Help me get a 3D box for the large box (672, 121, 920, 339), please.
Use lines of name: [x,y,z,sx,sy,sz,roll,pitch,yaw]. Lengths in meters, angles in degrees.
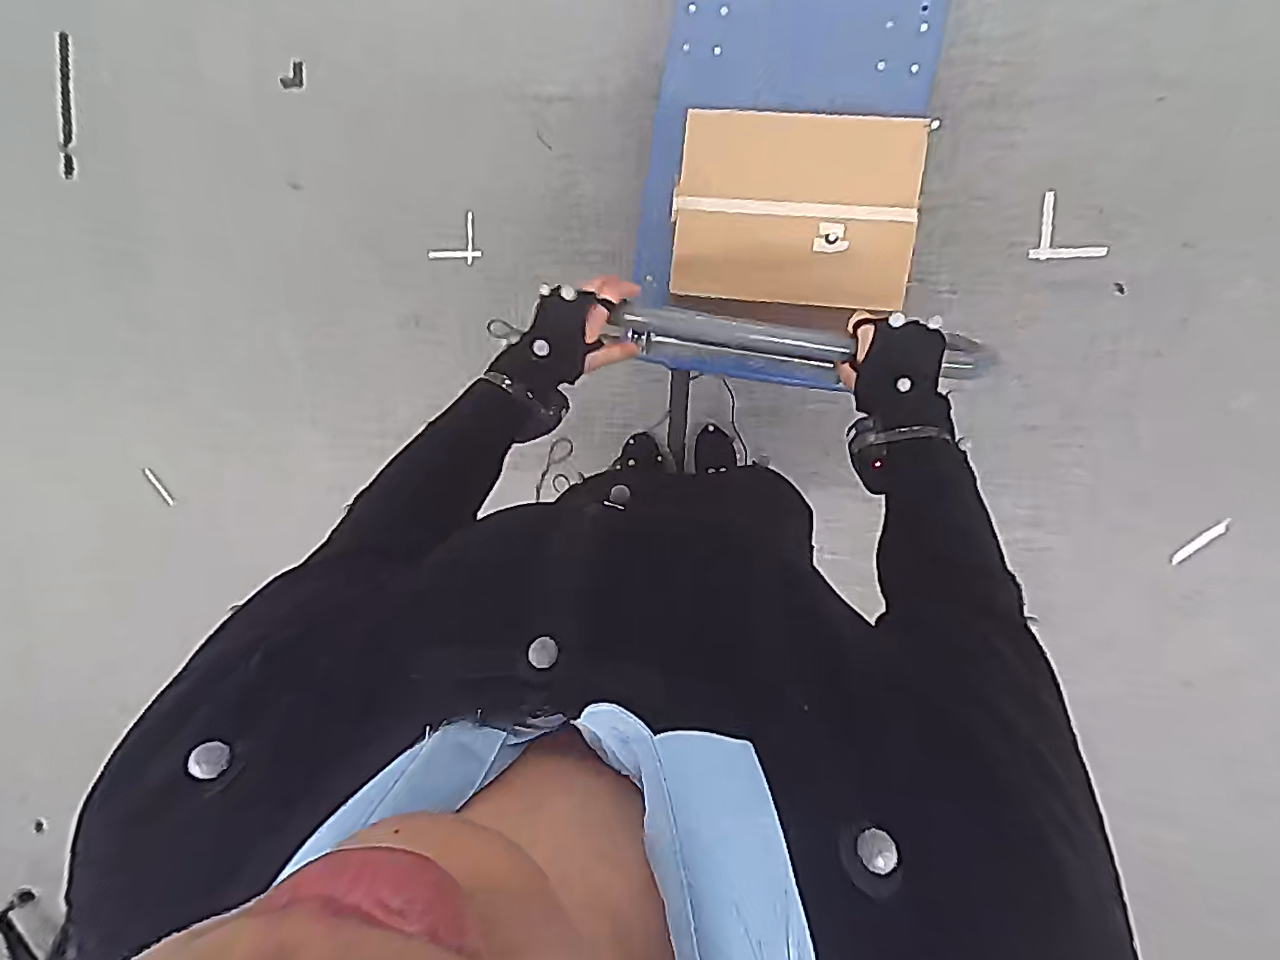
large box: [0.279,-0.476,1.095,0.408,0.320,0.320,6,97,5]
